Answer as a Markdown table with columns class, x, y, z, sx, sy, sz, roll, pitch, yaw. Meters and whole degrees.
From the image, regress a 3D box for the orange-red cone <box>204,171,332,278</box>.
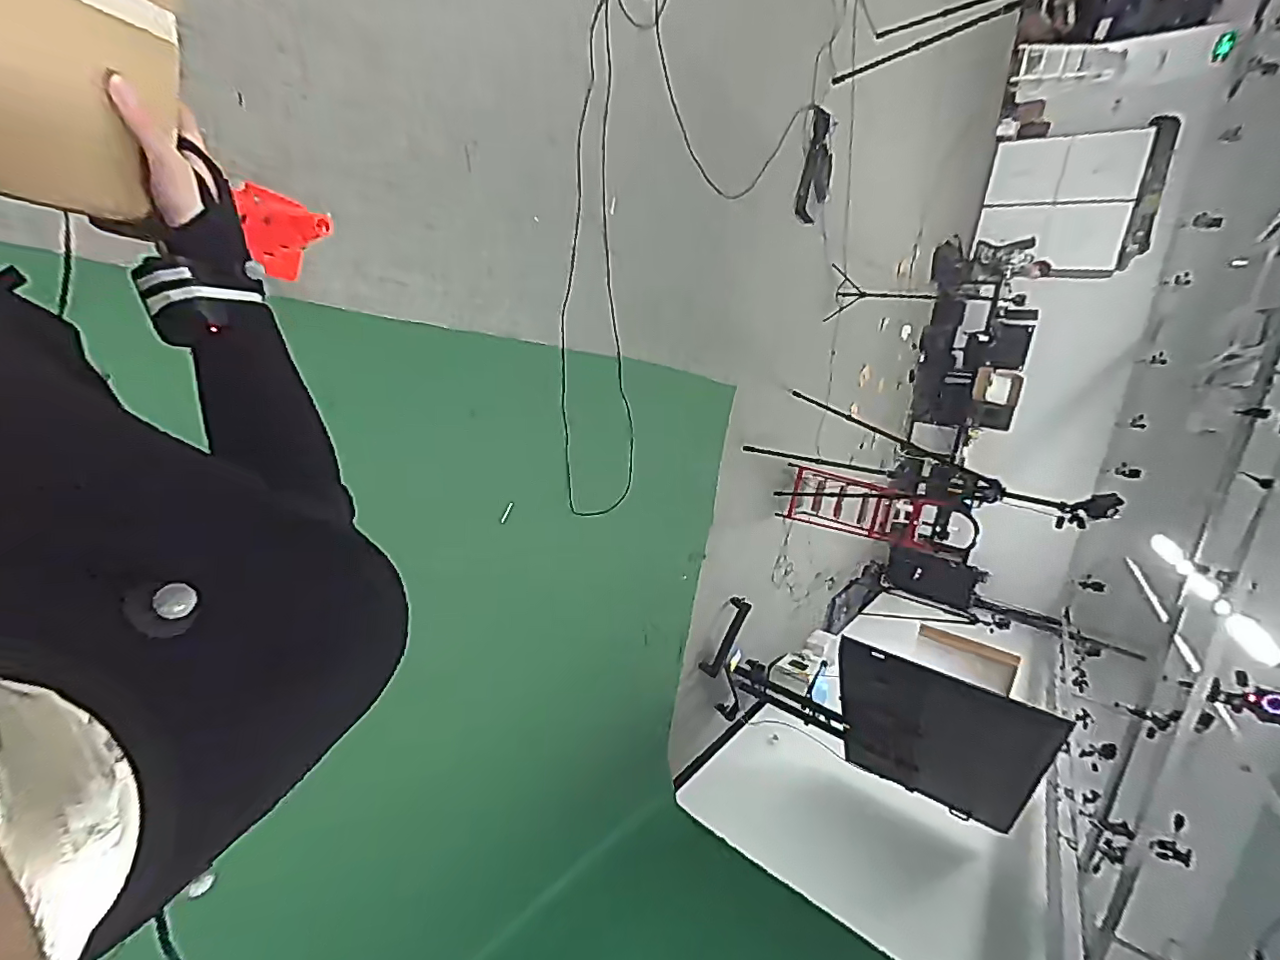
| class | x | y | z | sx | sy | sz | roll | pitch | yaw |
| --- | --- | --- | --- | --- | --- | --- | --- | --- | --- |
| orange-red cone | -0.807 | -0.580 | 1.239 | 0.199 | 0.360 | 0.198 | 5 | 101 | -56 |
